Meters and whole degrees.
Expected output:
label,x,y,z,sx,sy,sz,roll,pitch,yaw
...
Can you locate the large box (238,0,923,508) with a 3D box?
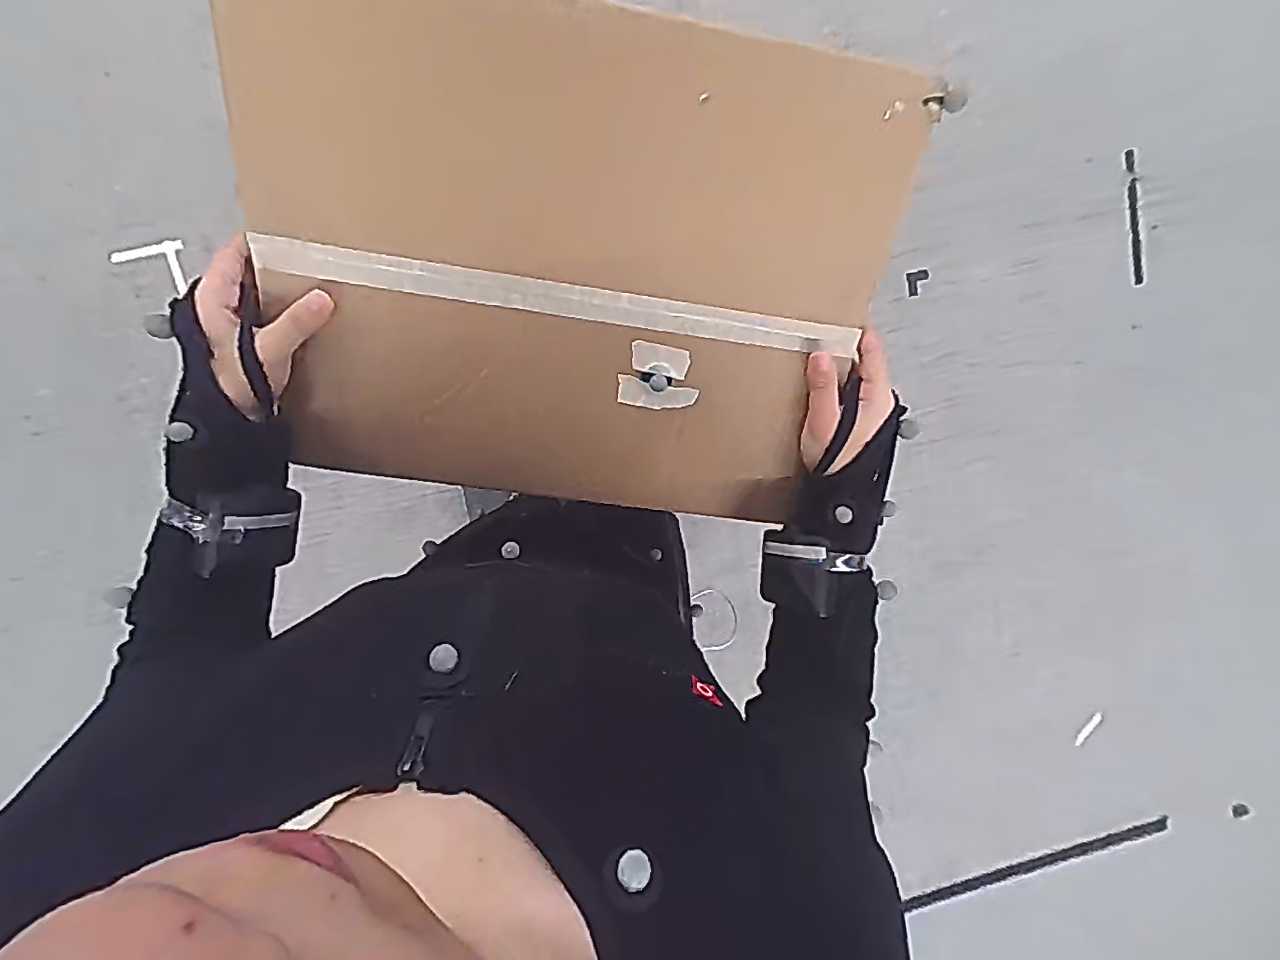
label,x,y,z,sx,sy,sz,roll,pitch,yaw
large box,-0.051,-0.197,0.508,0.408,0.320,0.320,6,119,-7
